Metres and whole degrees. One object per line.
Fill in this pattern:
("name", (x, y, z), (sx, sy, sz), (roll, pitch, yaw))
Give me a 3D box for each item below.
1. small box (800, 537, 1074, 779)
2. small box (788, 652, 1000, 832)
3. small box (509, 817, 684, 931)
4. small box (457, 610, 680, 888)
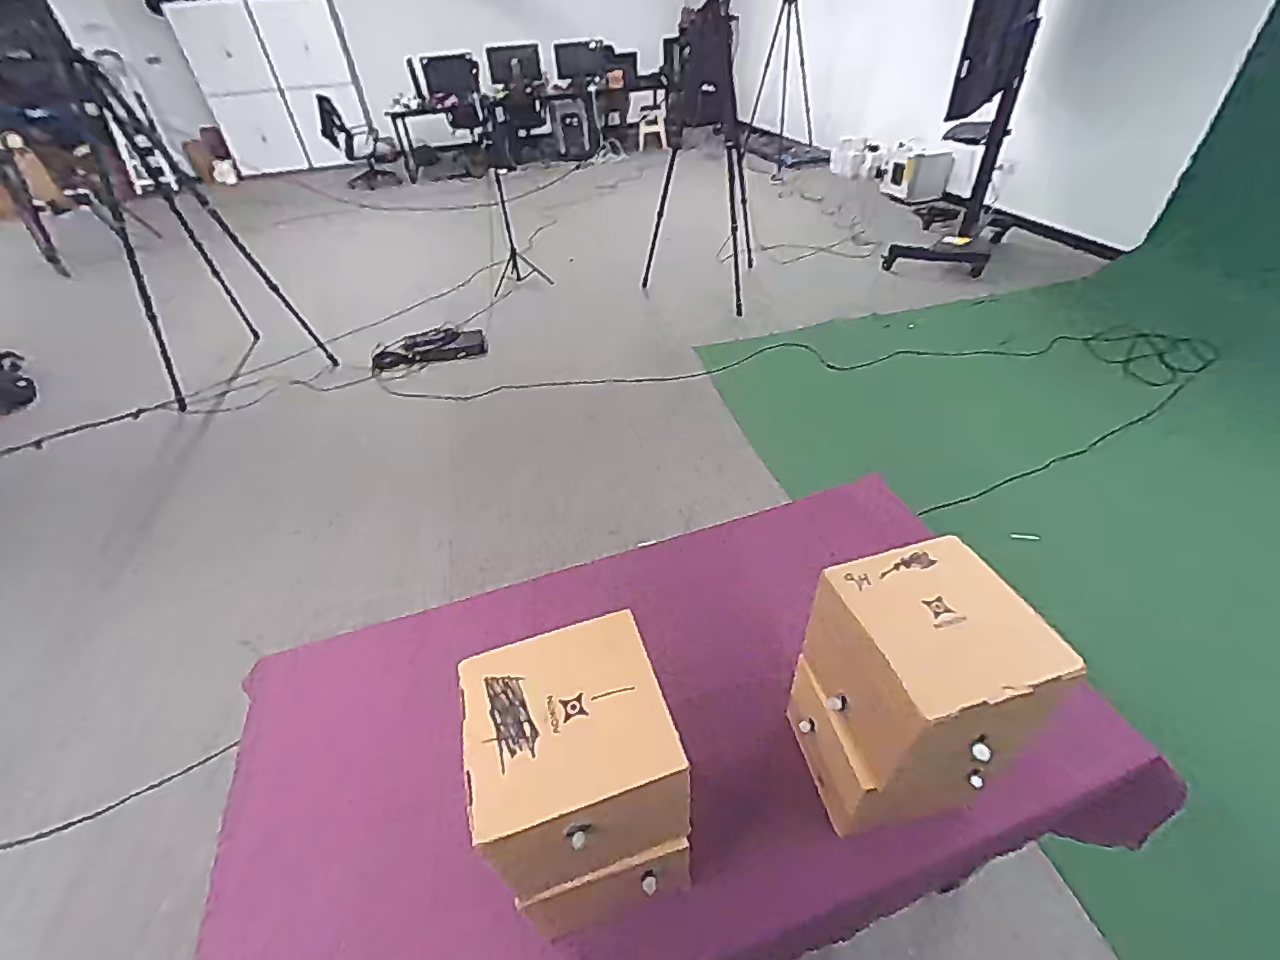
("small box", (0.292, 0.194, 0.580), (0.168, 0.176, 0.179), (-12, 42, -9))
("small box", (0.300, 0.318, 0.688), (0.179, 0.176, 0.168), (-10, 41, -6))
("small box", (-0.055, 0.392, 0.637), (0.179, 0.176, 0.168), (-13, 41, -8))
("small box", (-0.067, 0.264, 0.533), (0.179, 0.176, 0.168), (-14, 42, -11))
